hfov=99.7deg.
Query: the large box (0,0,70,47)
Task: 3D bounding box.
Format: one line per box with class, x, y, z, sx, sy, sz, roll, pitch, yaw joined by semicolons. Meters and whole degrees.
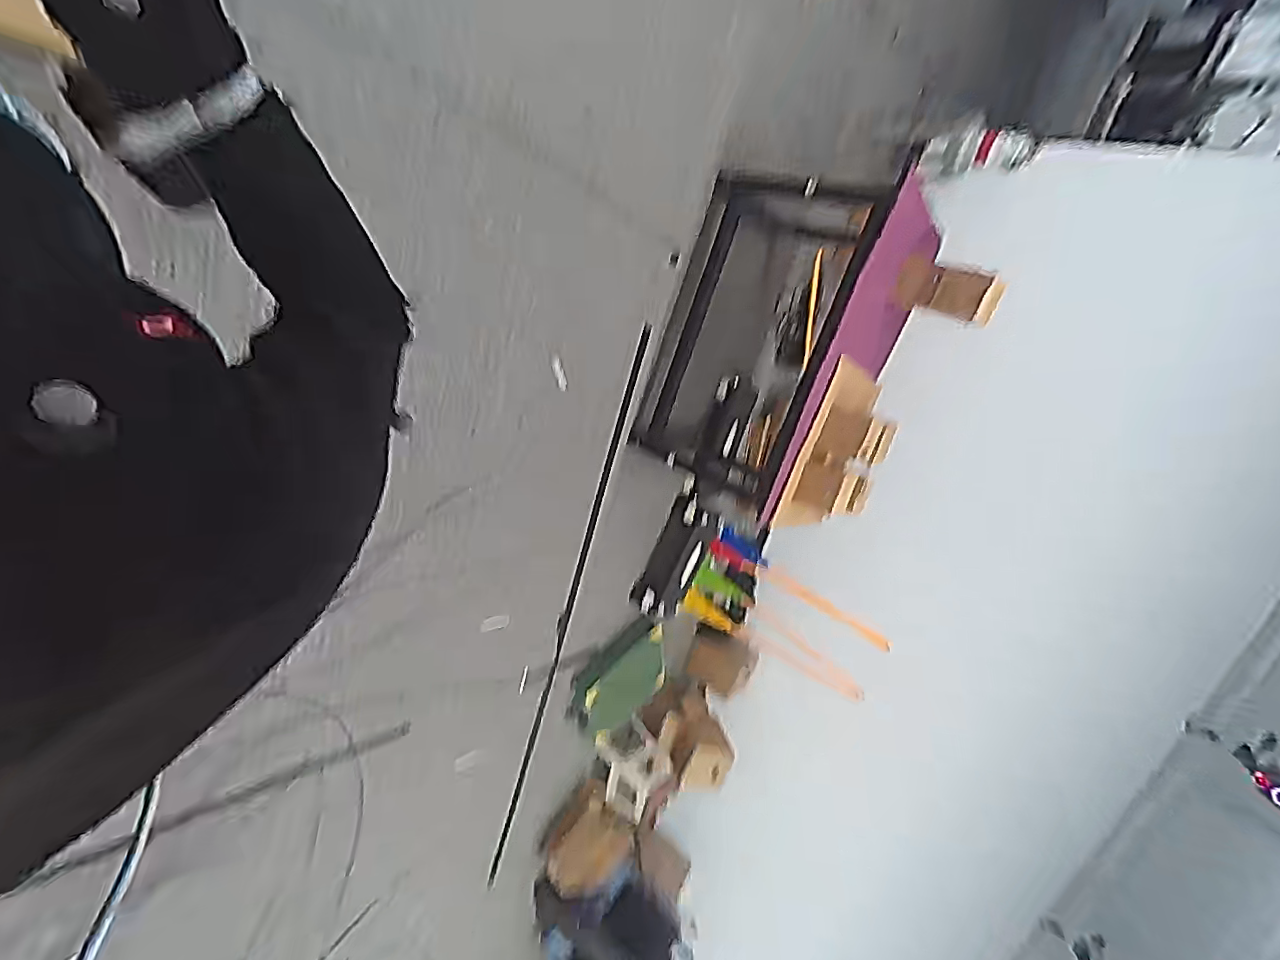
large box;-0.963;-0.767;0.605;0.408;0.320;0.320;-8;121;-51
